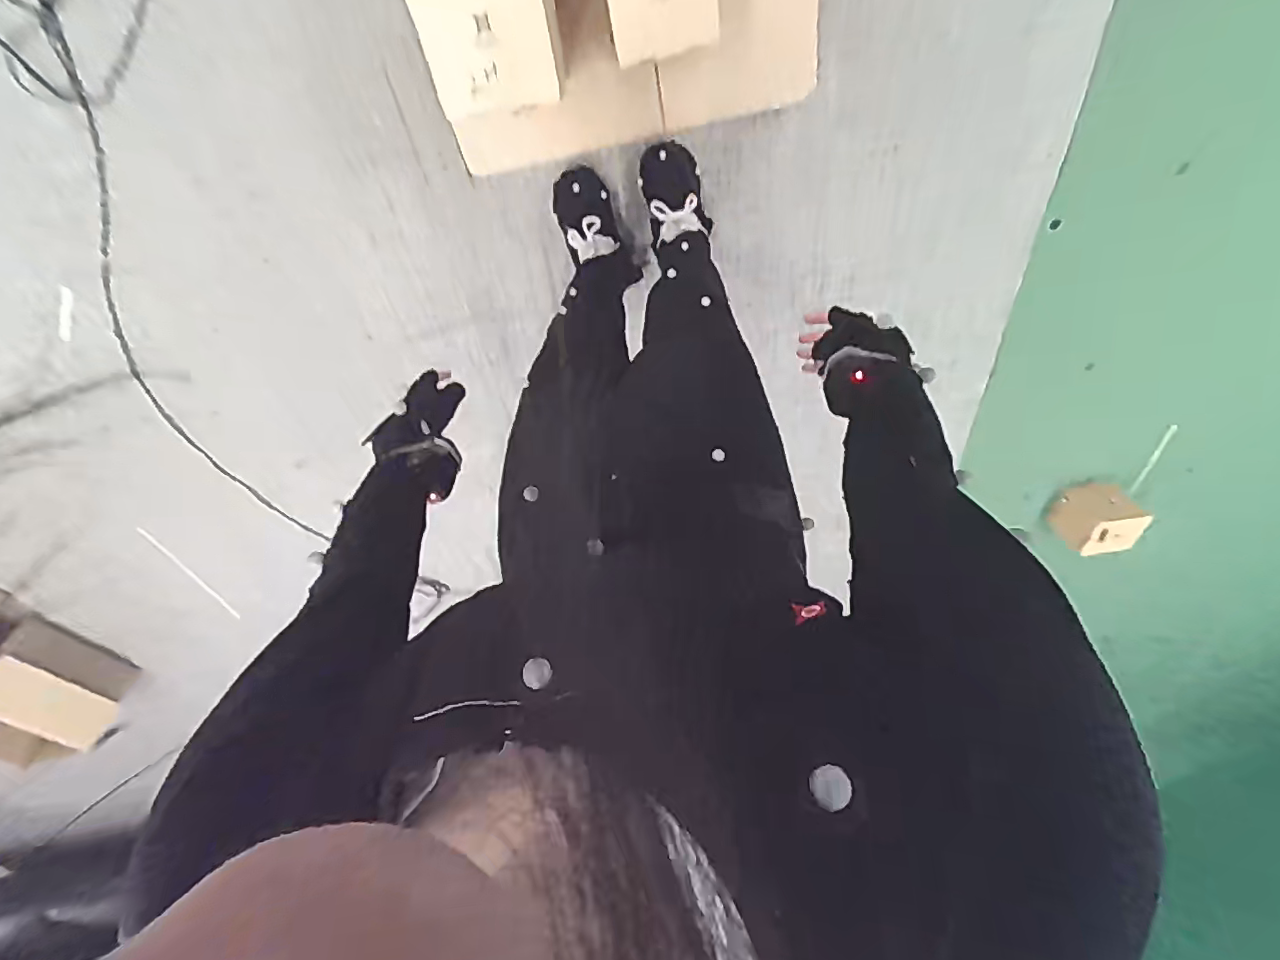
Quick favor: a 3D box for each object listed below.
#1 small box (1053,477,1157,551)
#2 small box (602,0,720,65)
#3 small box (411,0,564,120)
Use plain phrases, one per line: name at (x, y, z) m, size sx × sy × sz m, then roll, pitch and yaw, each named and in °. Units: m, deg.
small box at (1.537, 0.110, 1.804) m, size 0.179 × 0.176 × 0.168 m, roll -9°, pitch 131°, yaw 1°
small box at (0.022, -0.790, 0.860) m, size 0.168 × 0.176 × 0.179 m, roll -13°, pitch 132°, yaw 4°
small box at (-0.205, -0.628, 0.755) m, size 0.168 × 0.176 × 0.179 m, roll -8°, pitch 131°, yaw 3°
